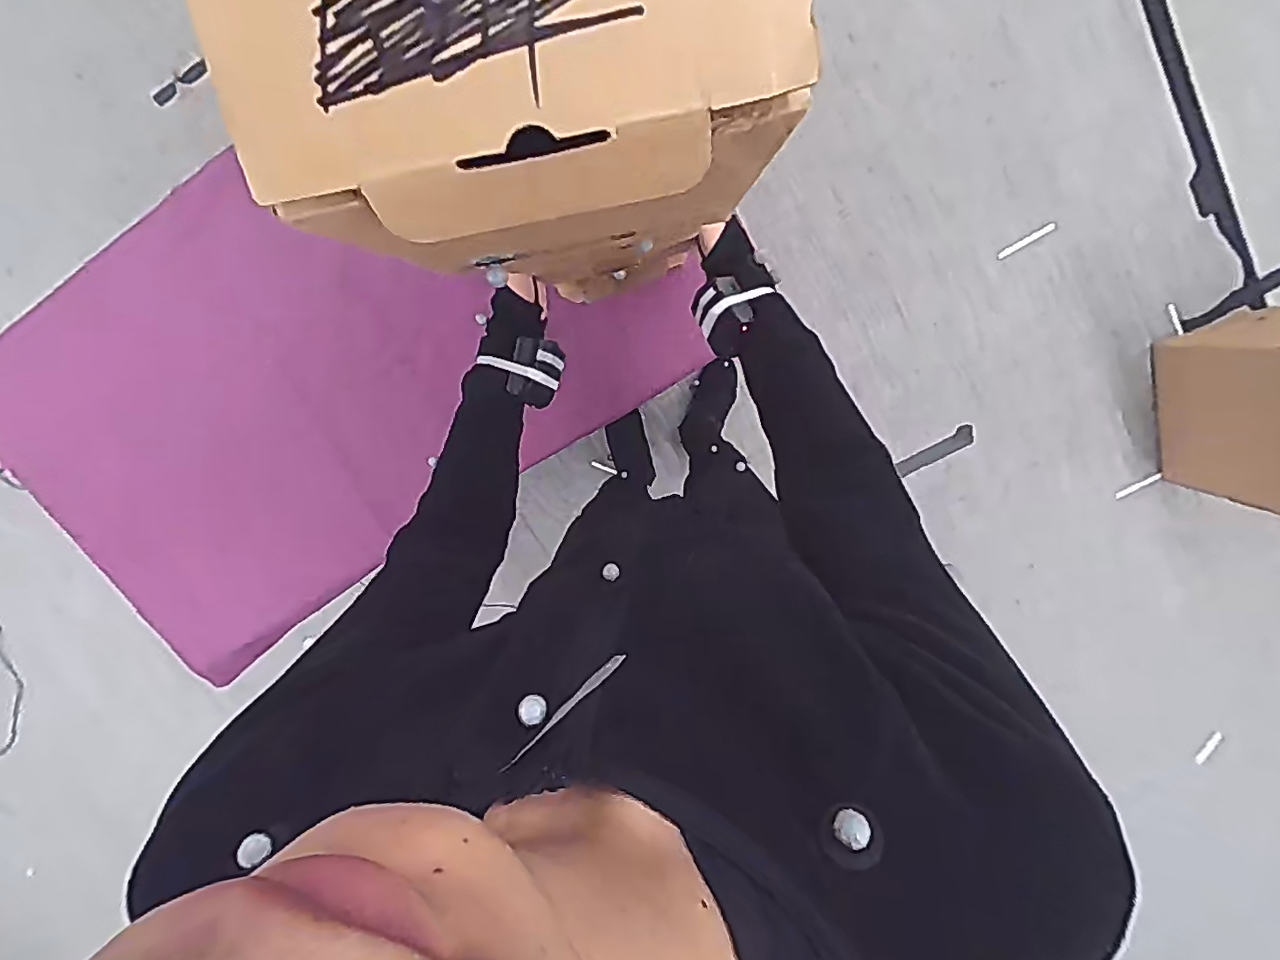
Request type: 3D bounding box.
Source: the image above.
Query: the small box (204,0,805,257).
[{"bbox_3d":[-0.045,-0.197,0.215,0.168,0.176,0.179,-10,104,2],"label":"small box"}]
